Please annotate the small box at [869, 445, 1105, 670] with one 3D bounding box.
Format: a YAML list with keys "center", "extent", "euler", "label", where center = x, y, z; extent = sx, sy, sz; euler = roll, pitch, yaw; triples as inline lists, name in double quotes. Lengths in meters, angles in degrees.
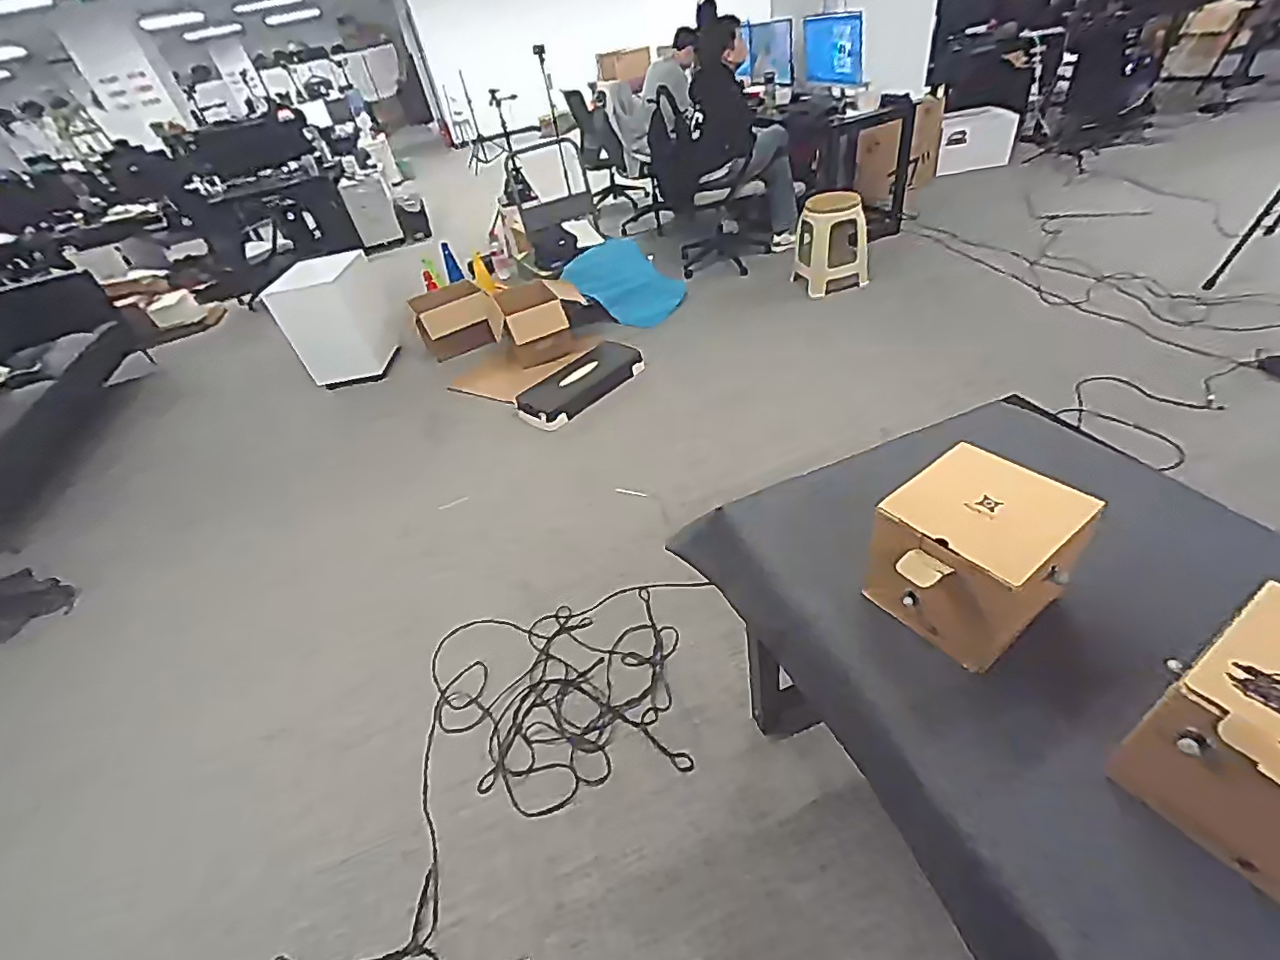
- center: [0.407, 0.092, 0.667]
  extent: [0.179, 0.176, 0.168]
  euler: [-31, 44, -20]
  label: "small box"
